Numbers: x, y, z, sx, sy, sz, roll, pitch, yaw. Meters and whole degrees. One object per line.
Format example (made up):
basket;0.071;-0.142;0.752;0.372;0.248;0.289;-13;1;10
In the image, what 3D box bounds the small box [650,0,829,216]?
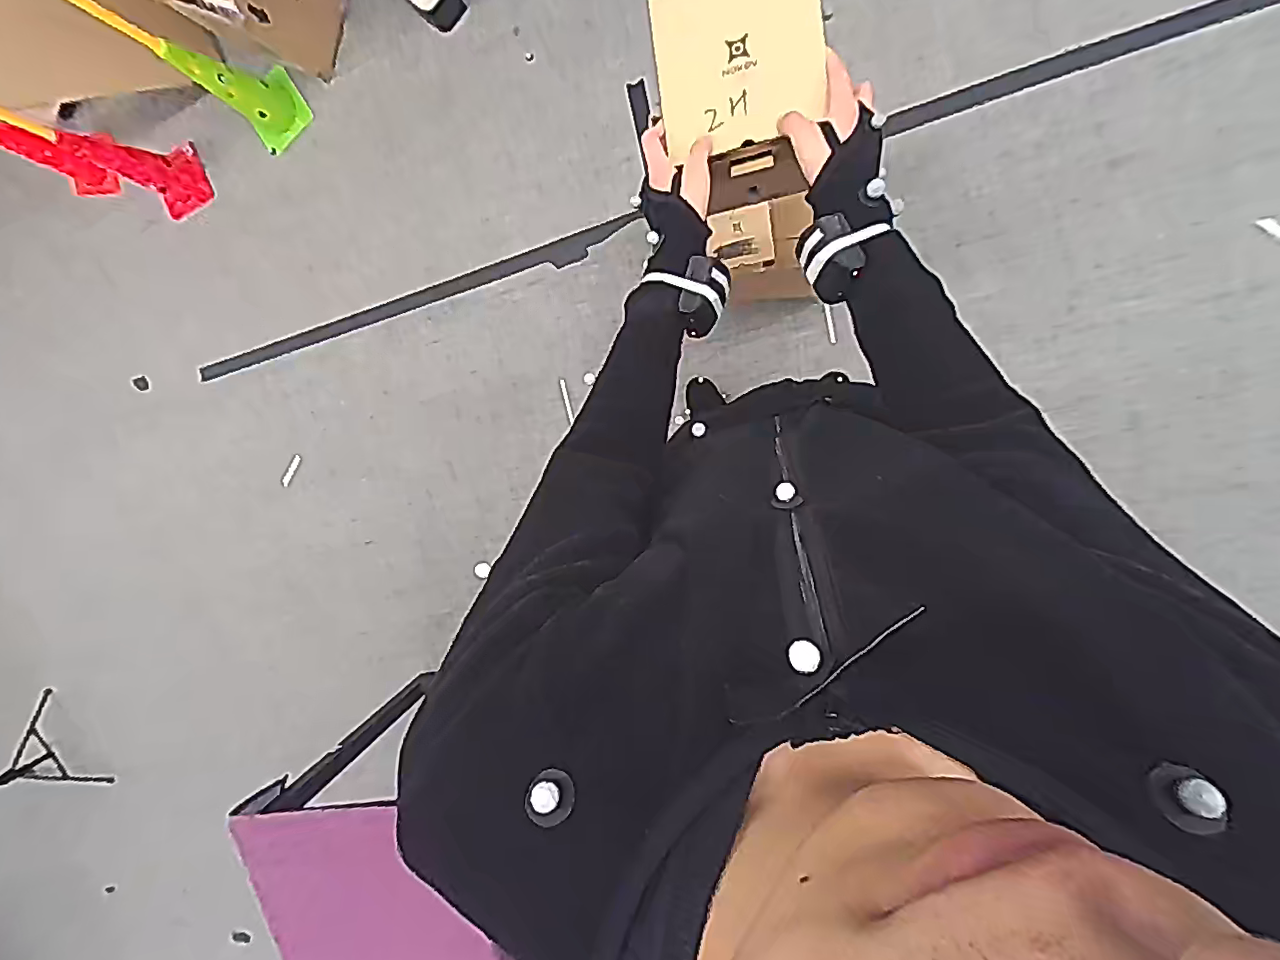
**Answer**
small box;0.119;-0.436;0.623;0.168;0.176;0.179;-7;98;16
